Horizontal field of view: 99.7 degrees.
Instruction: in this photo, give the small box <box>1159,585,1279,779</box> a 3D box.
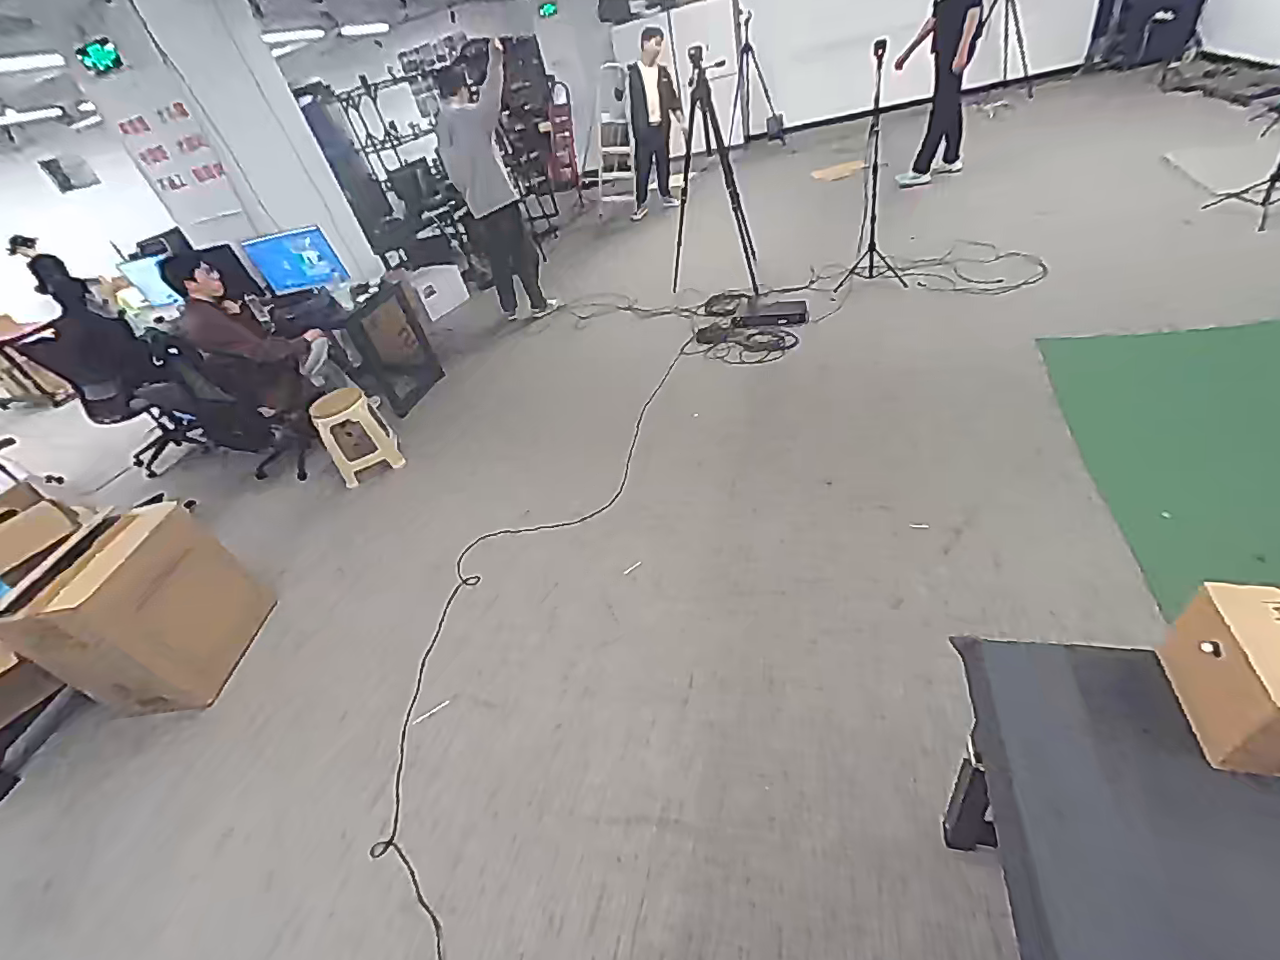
[{"bbox_3d":[0.819,0.258,0.686,0.168,0.176,0.179,0,42,19],"label":"small box"}]
